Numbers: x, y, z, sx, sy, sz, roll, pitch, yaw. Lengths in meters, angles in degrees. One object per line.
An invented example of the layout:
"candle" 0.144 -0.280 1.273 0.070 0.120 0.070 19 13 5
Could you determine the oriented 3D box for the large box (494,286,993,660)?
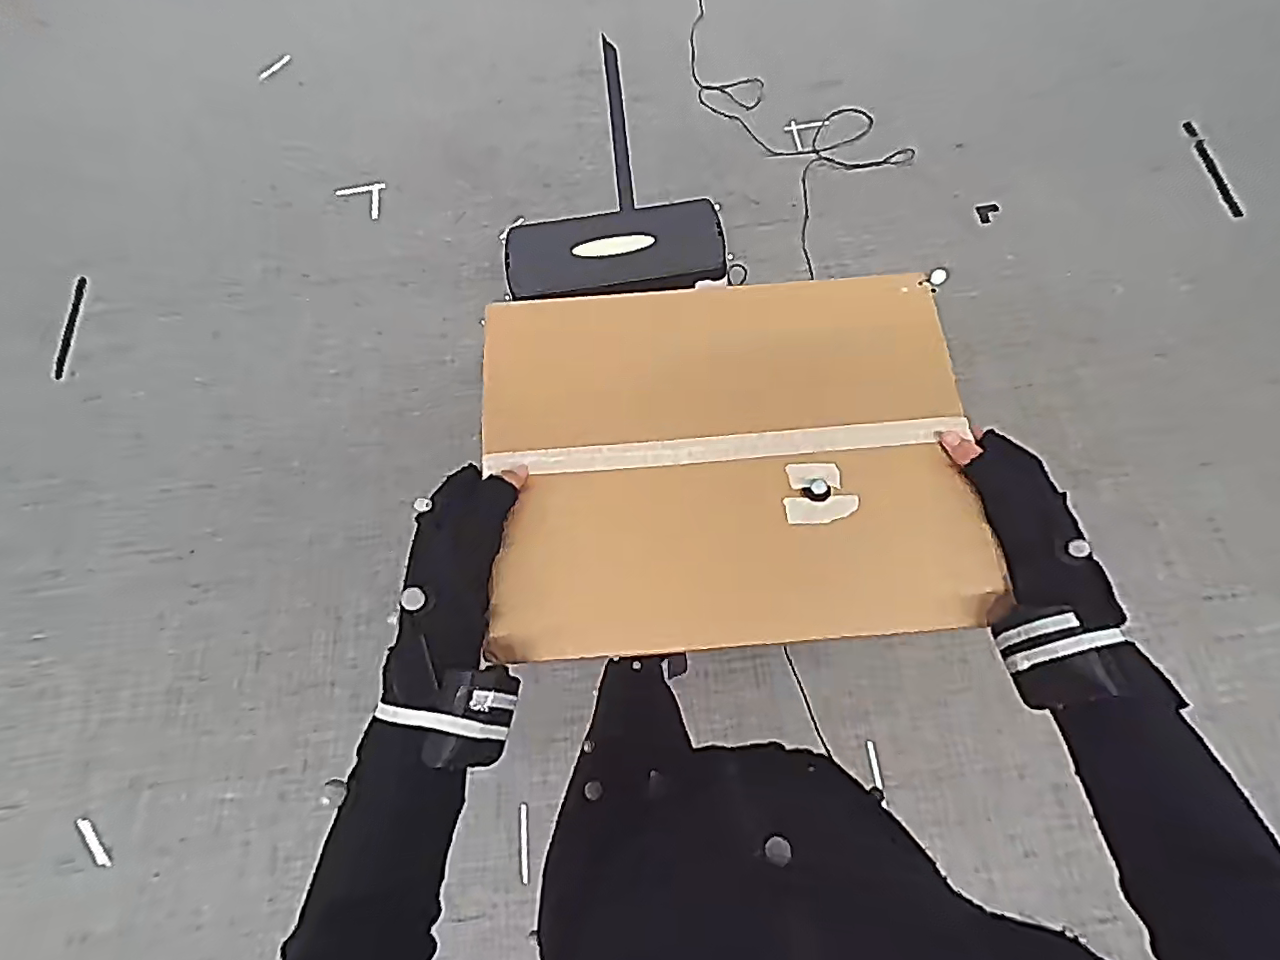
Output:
"large box" 0.073 0.022 0.613 0.408 0.320 0.320 -5 73 0
